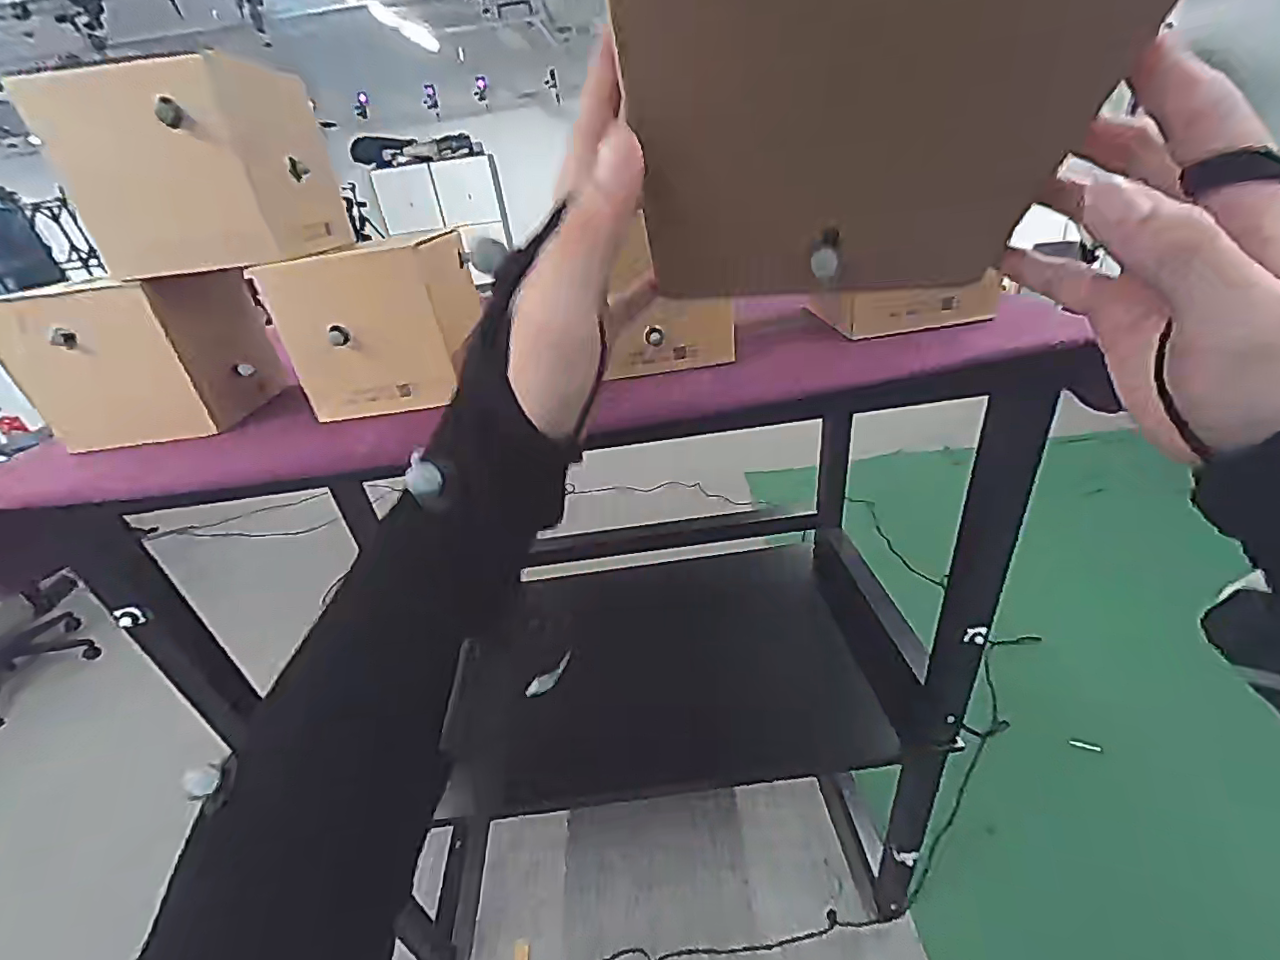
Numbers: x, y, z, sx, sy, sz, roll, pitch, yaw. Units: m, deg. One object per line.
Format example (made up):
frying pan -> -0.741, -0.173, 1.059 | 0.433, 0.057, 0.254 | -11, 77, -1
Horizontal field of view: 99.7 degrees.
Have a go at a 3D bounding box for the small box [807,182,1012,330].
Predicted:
small box -> 0.303, -0.283, 0.638 | 0.168, 0.176, 0.179 | -8, 30, 2

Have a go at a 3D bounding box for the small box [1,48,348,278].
small box -> -0.438, -0.314, 0.553 | 0.179, 0.176, 0.168 | -6, 30, 2

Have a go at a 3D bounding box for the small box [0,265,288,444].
small box -> -0.568, -0.152, 0.634 | 0.179, 0.176, 0.168 | -7, 31, 0

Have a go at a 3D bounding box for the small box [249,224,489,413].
small box -> -0.288, -0.185, 0.627 | 0.168, 0.176, 0.179 | -8, 30, 2

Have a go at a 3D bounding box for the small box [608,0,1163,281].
small box -> 0.087, -0.213, 0.252 | 0.179, 0.176, 0.168 | 1, 74, 8
